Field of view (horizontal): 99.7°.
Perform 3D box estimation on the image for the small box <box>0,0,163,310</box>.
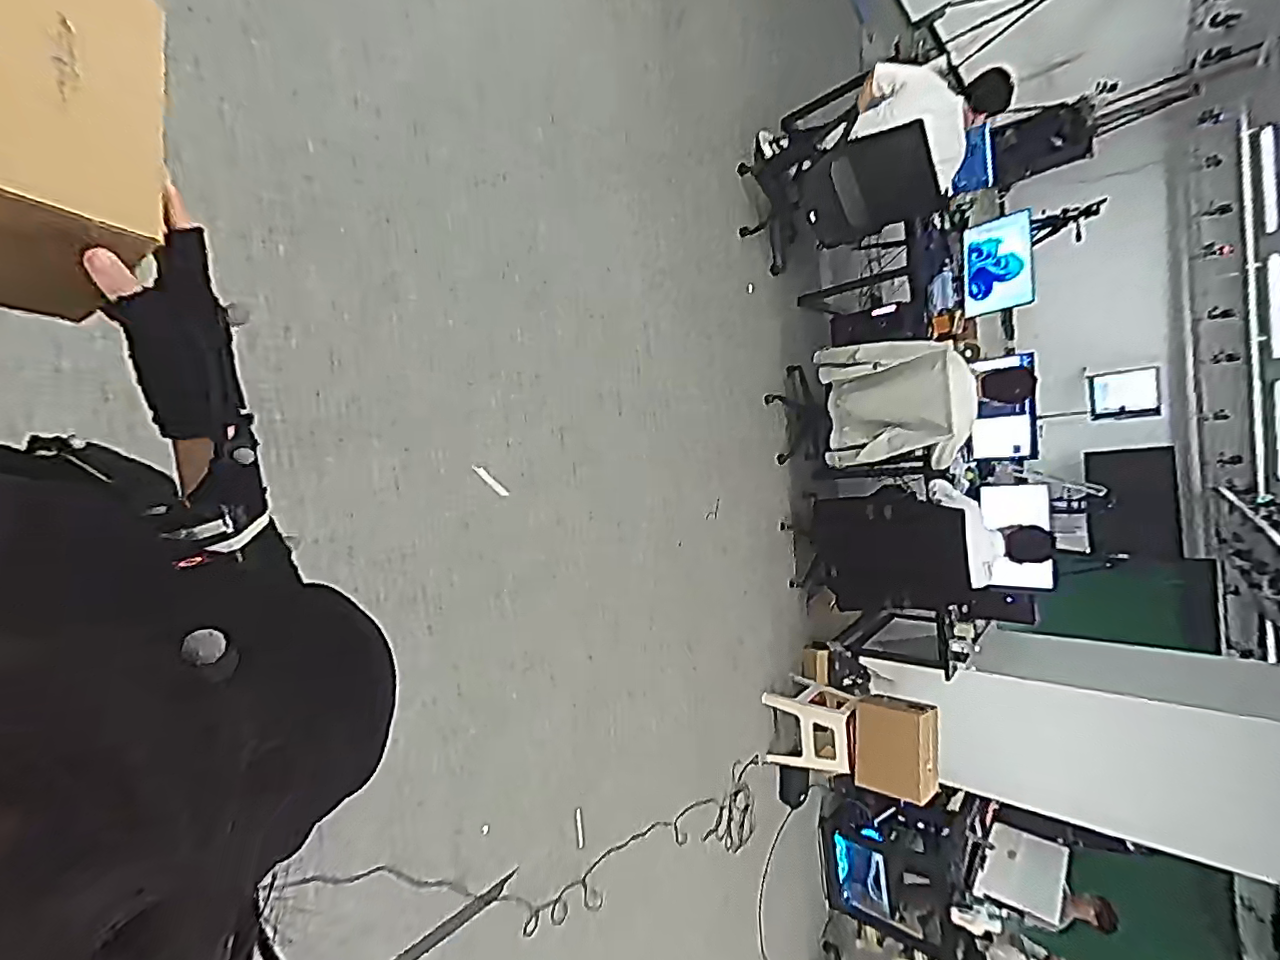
[{"bbox_3d":[-0.418,-0.218,0.312,0.179,0.176,0.168,5,77,-59],"label":"small box"}]
